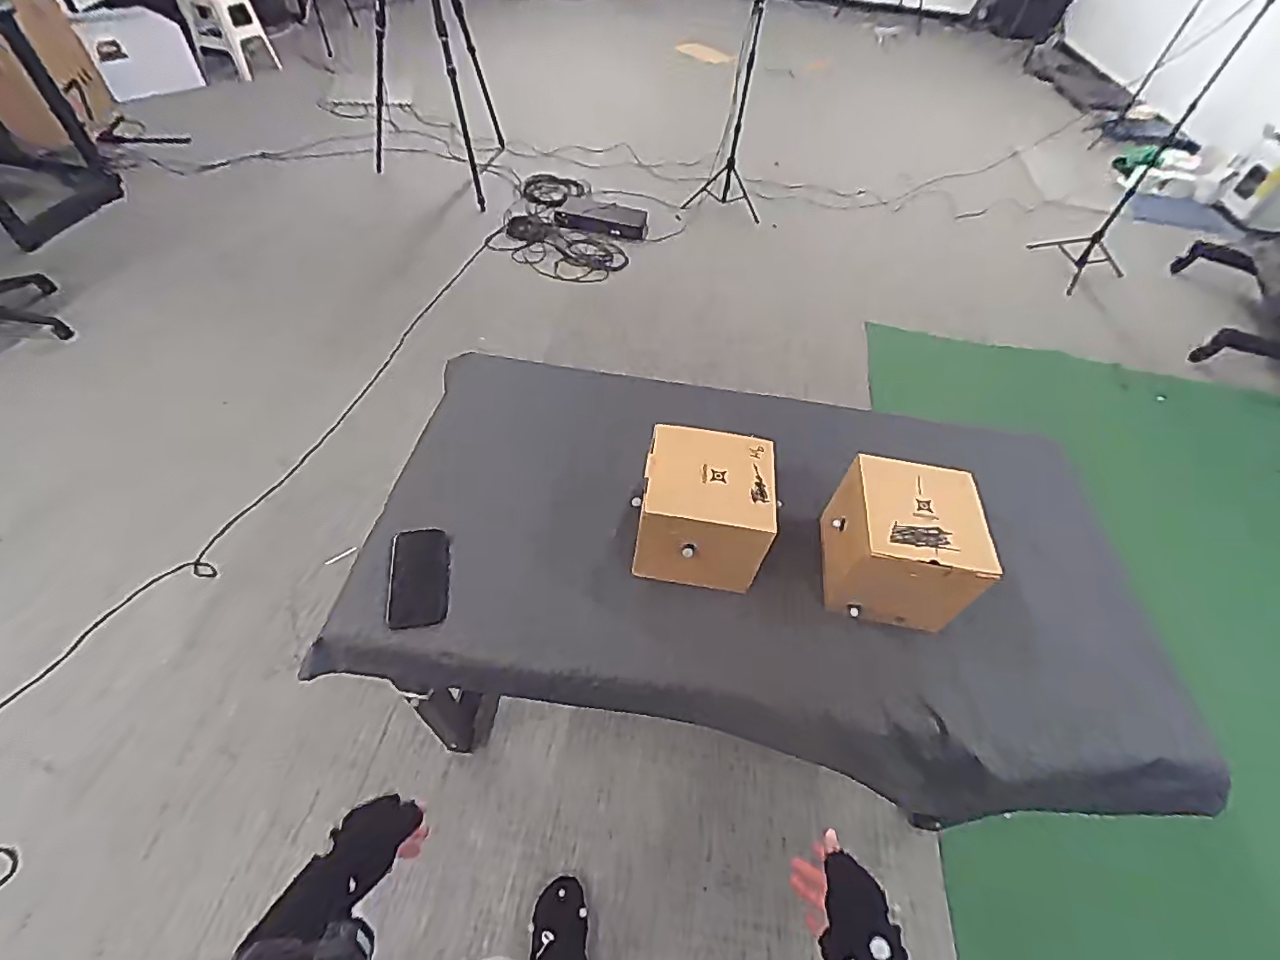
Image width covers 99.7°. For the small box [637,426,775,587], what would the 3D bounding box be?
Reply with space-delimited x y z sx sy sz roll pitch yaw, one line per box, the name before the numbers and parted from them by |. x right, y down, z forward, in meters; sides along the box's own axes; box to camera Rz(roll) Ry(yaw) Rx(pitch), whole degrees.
small box | 0.093 0.044 0.808 0.179 0.176 0.168 8 51 1

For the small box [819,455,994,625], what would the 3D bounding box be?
small box | 0.375 0.093 0.799 0.168 0.176 0.179 11 50 2
